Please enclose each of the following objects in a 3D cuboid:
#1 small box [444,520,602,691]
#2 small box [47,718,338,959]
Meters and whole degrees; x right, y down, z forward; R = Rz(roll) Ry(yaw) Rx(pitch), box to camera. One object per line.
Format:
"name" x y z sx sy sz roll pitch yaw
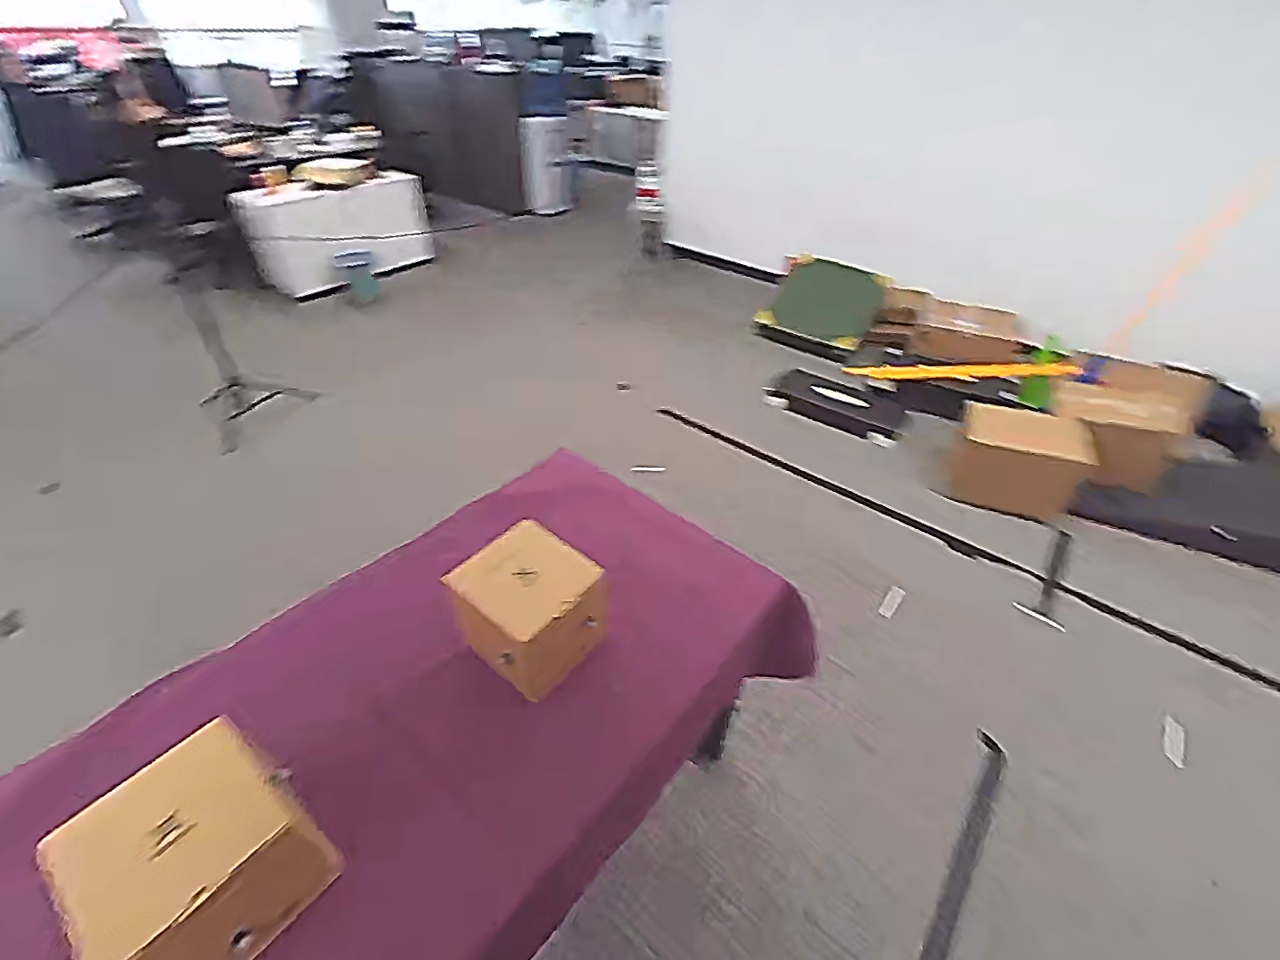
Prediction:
"small box" -0.174 0.201 0.853 0.179 0.176 0.168 28 47 28
"small box" -0.476 0.414 0.597 0.179 0.176 0.168 29 47 26
